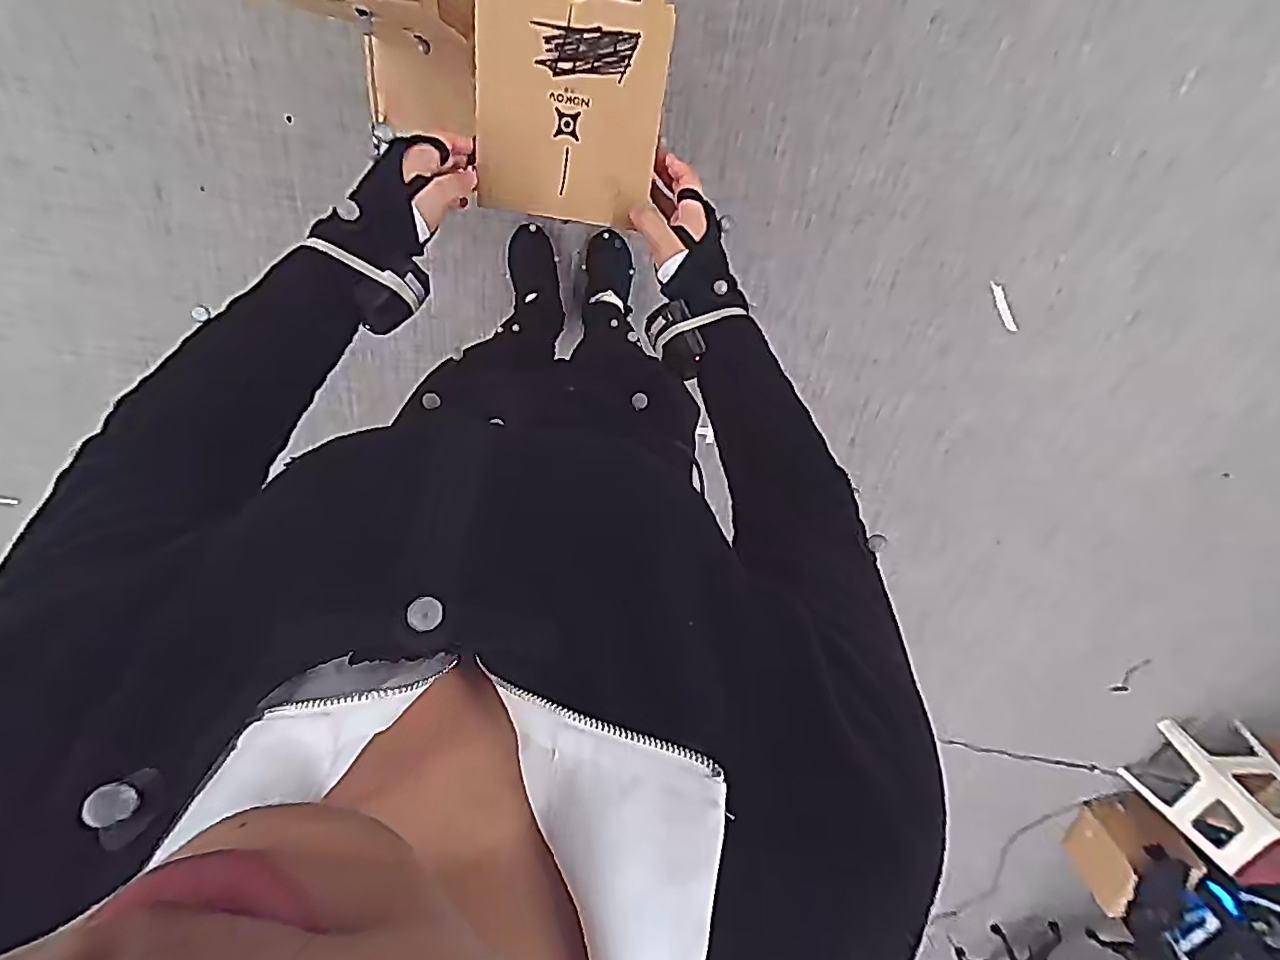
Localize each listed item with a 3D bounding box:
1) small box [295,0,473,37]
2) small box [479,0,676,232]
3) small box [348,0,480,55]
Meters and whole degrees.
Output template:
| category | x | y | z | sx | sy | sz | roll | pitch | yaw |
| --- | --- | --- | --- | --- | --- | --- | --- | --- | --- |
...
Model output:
| category | x | y | z | sx | sy | sz | roll | pitch | yaw |
| --- | --- | --- | --- | --- | --- | --- | --- | --- | --- |
| small box | -0.244 | -0.509 | 0.461 | 0.168 | 0.176 | 0.179 | 6 | 121 | -5 |
| small box | -0.066 | -0.371 | 0.554 | 0.168 | 0.176 | 0.179 | 6 | 122 | -6 |
| small box | -0.253 | -0.601 | 0.597 | 0.168 | 0.176 | 0.179 | 5 | 121 | -4 |
